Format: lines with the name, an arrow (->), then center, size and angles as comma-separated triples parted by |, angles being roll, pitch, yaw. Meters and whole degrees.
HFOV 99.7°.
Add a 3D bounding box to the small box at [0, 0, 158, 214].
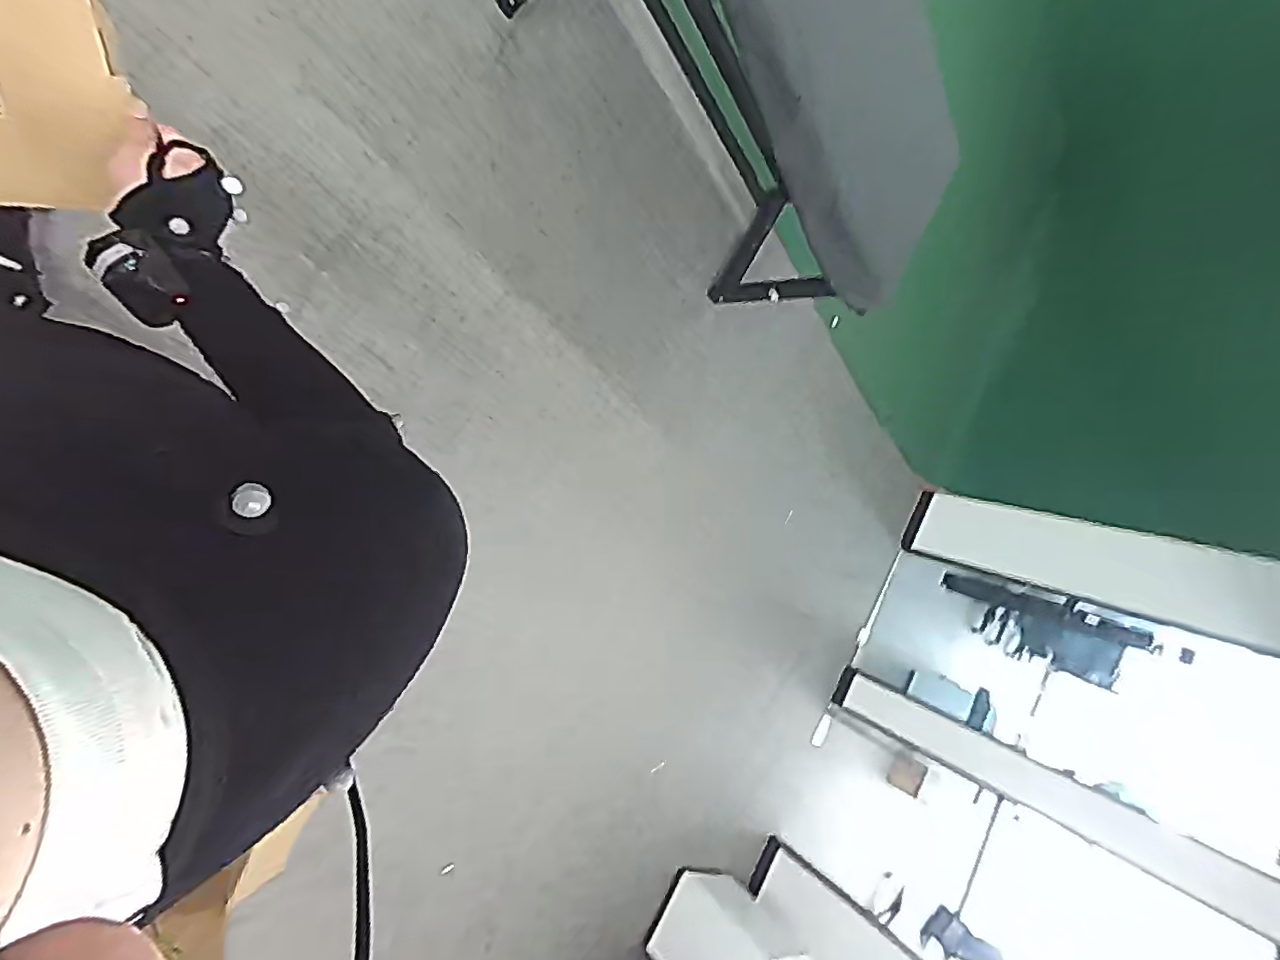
small box -> -0.553, -0.333, 0.467 | 0.179, 0.176, 0.168 | -14, 122, -35
